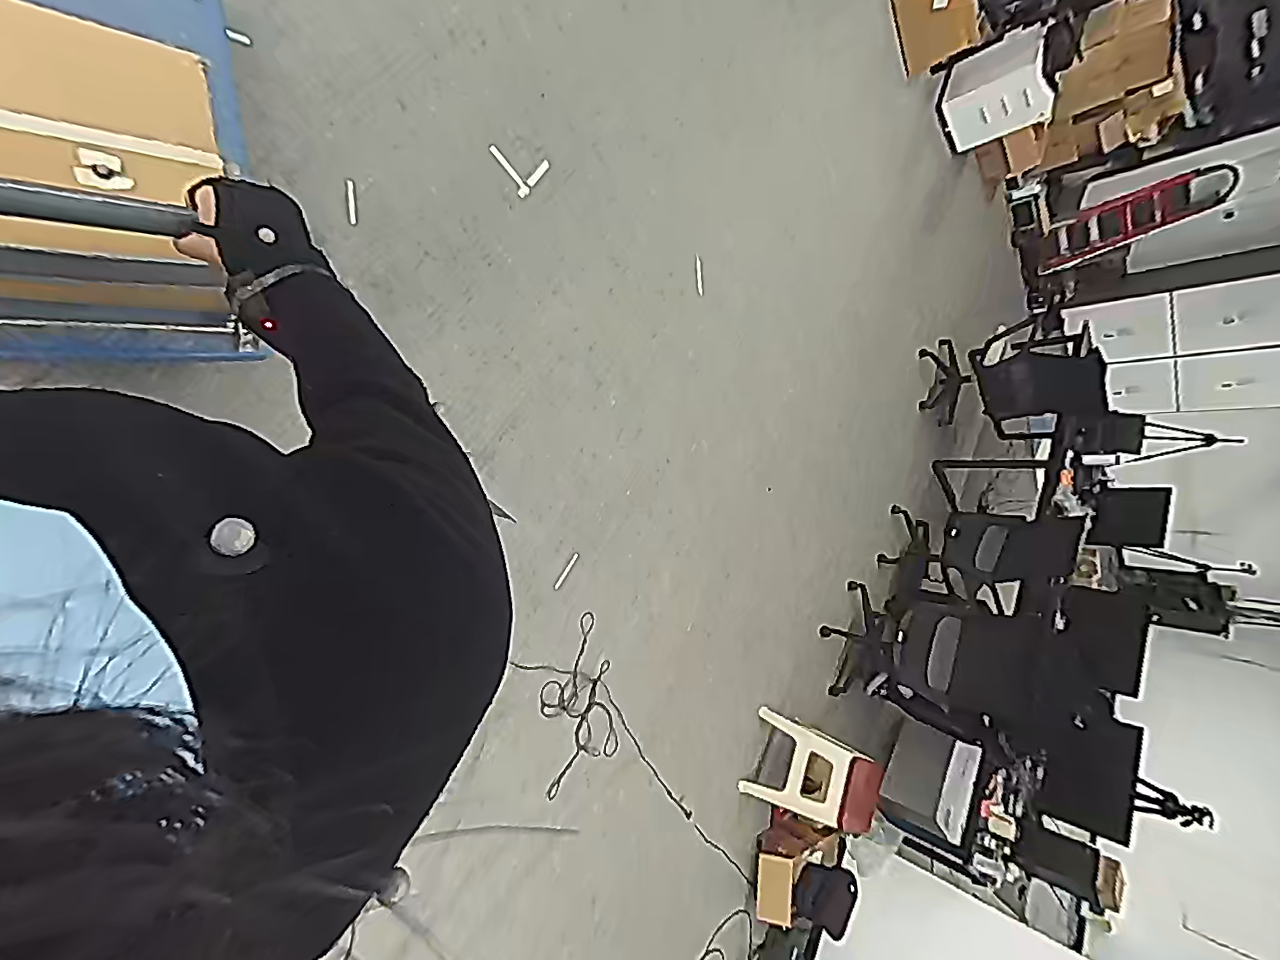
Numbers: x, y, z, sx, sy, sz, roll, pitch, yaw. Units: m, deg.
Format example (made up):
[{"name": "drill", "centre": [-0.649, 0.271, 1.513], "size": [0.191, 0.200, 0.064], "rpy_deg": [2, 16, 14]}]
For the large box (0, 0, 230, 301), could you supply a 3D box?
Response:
[{"name": "large box", "centre": [-0.900, -0.468, 0.800], "size": [0.408, 0.320, 0.320], "rpy_deg": [-11, 99, -43]}]
